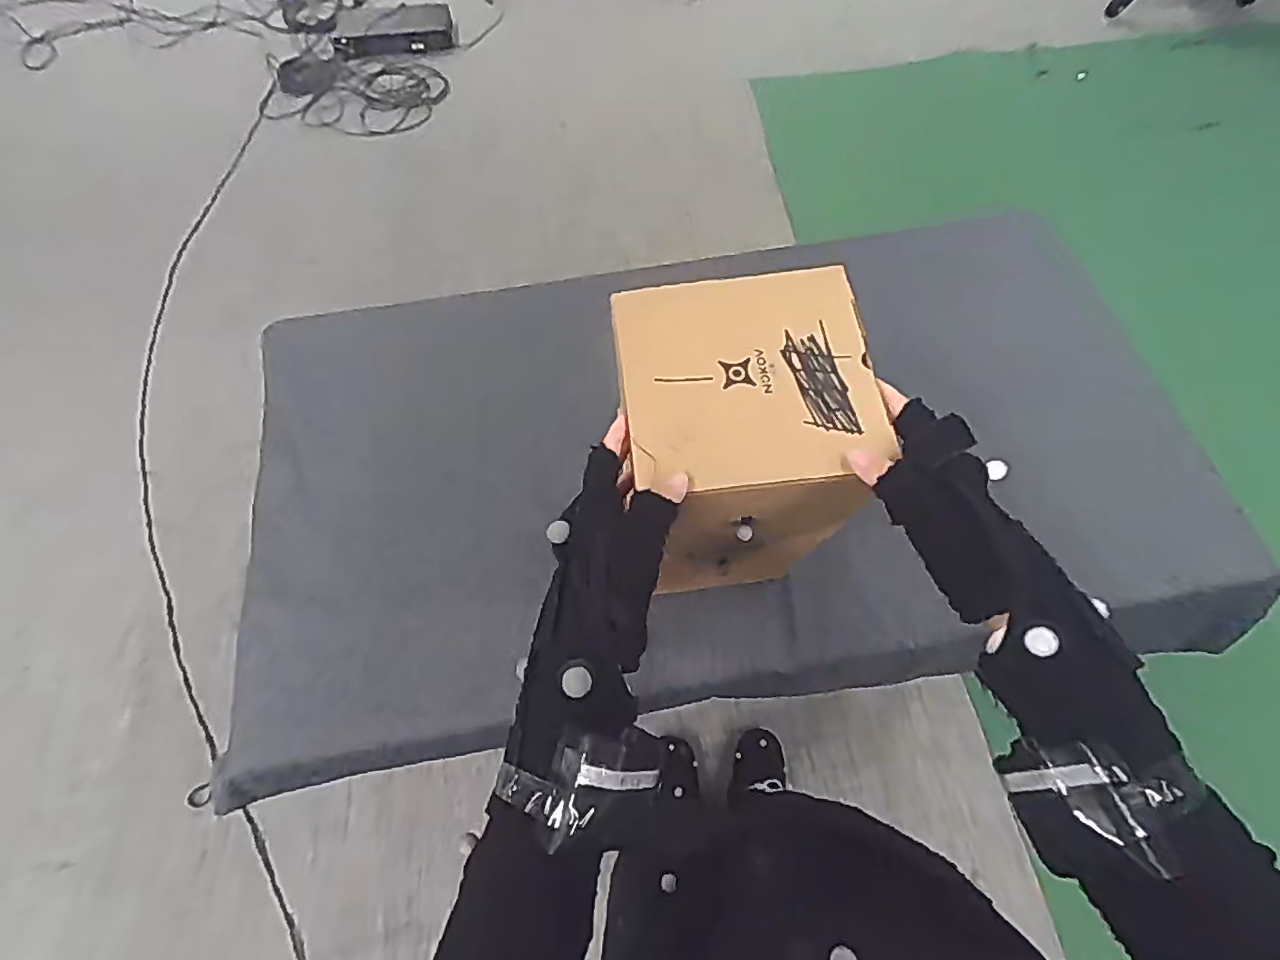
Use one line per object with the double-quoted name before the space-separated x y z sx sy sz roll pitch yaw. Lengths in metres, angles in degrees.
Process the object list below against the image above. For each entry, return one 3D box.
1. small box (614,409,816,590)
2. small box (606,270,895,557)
"small box" 0.072 0.017 0.602 0.179 0.176 0.168 -8 68 -3
"small box" 0.072 -0.042 0.447 0.179 0.176 0.168 -8 69 0
